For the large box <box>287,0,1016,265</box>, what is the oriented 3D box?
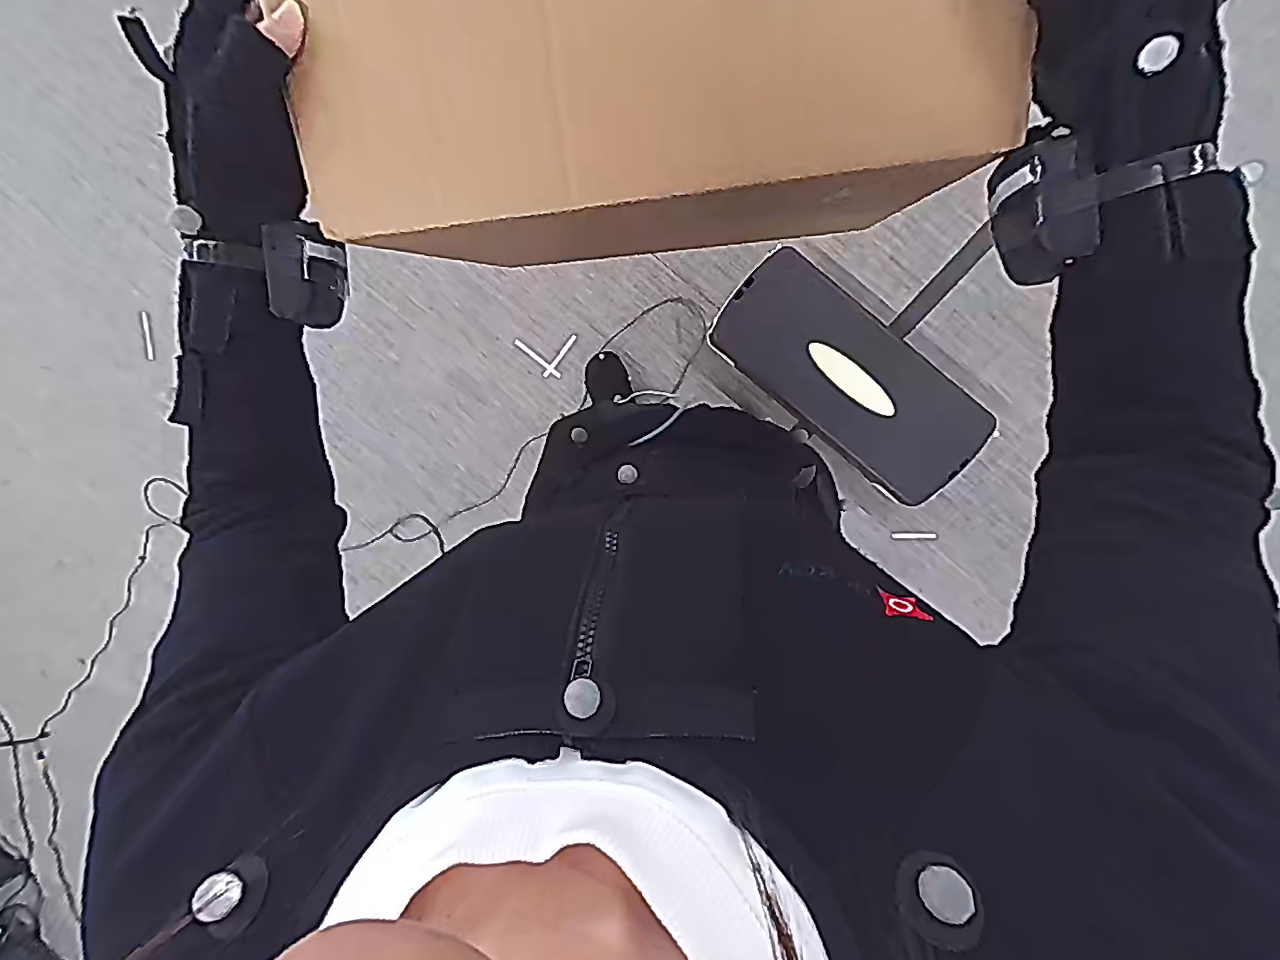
[{"bbox_3d":[0.005,-0.365,0.419,0.408,0.320,0.320,-3,108,9],"label":"large box"}]
